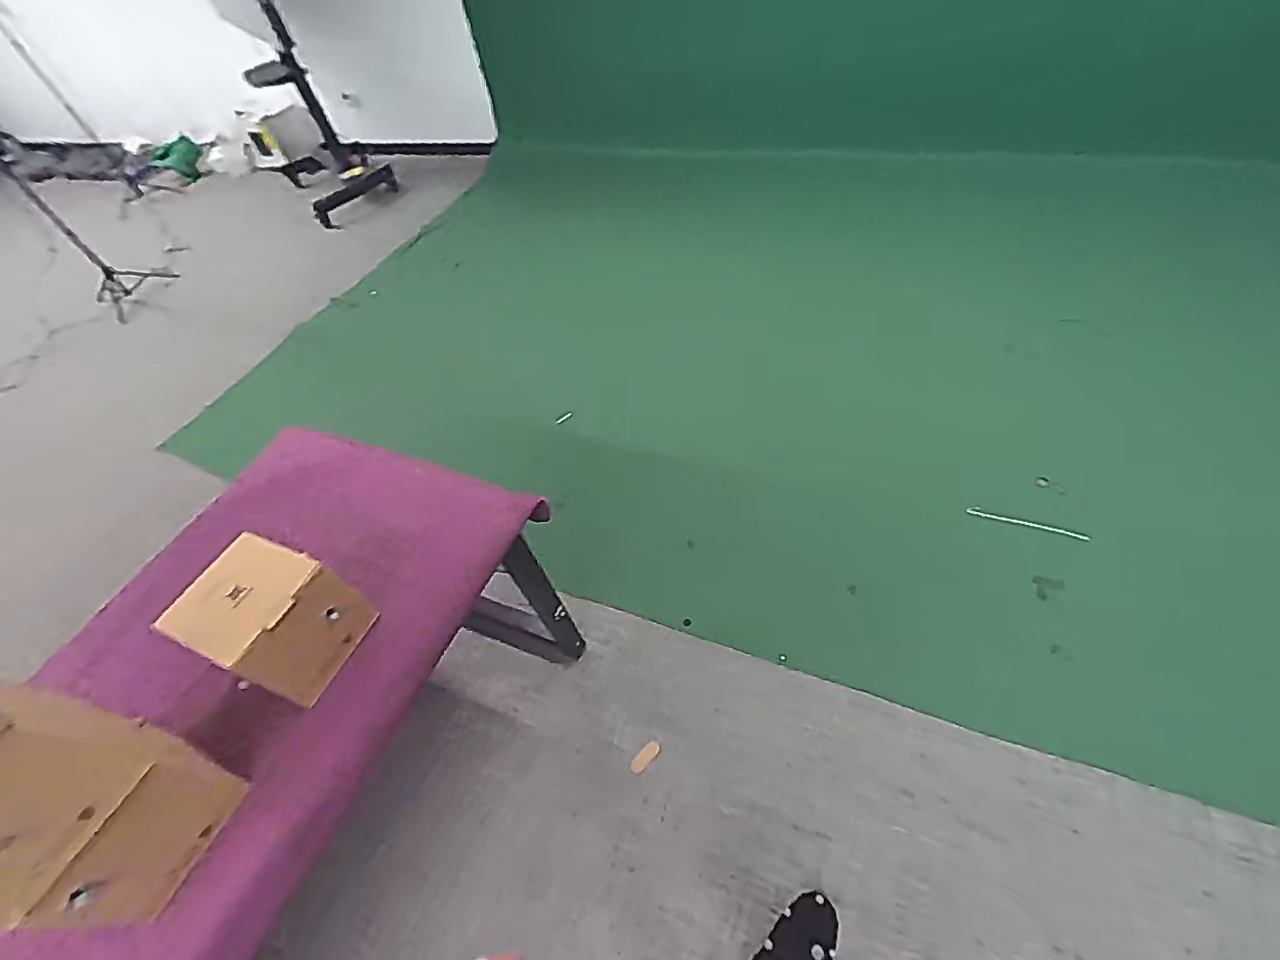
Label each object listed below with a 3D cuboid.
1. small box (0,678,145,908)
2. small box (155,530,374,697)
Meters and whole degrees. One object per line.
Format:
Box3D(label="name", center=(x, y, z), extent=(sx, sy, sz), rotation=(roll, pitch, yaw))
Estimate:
Box3D(label="small box", center=(-0.676, 0.309, 0.548), extent=(0.179, 0.176, 0.168), rotation=(14, 56, 22))
Box3D(label="small box", center=(-0.550, 0.206, 0.818), extent=(0.179, 0.176, 0.168), rotation=(14, 55, 22))
